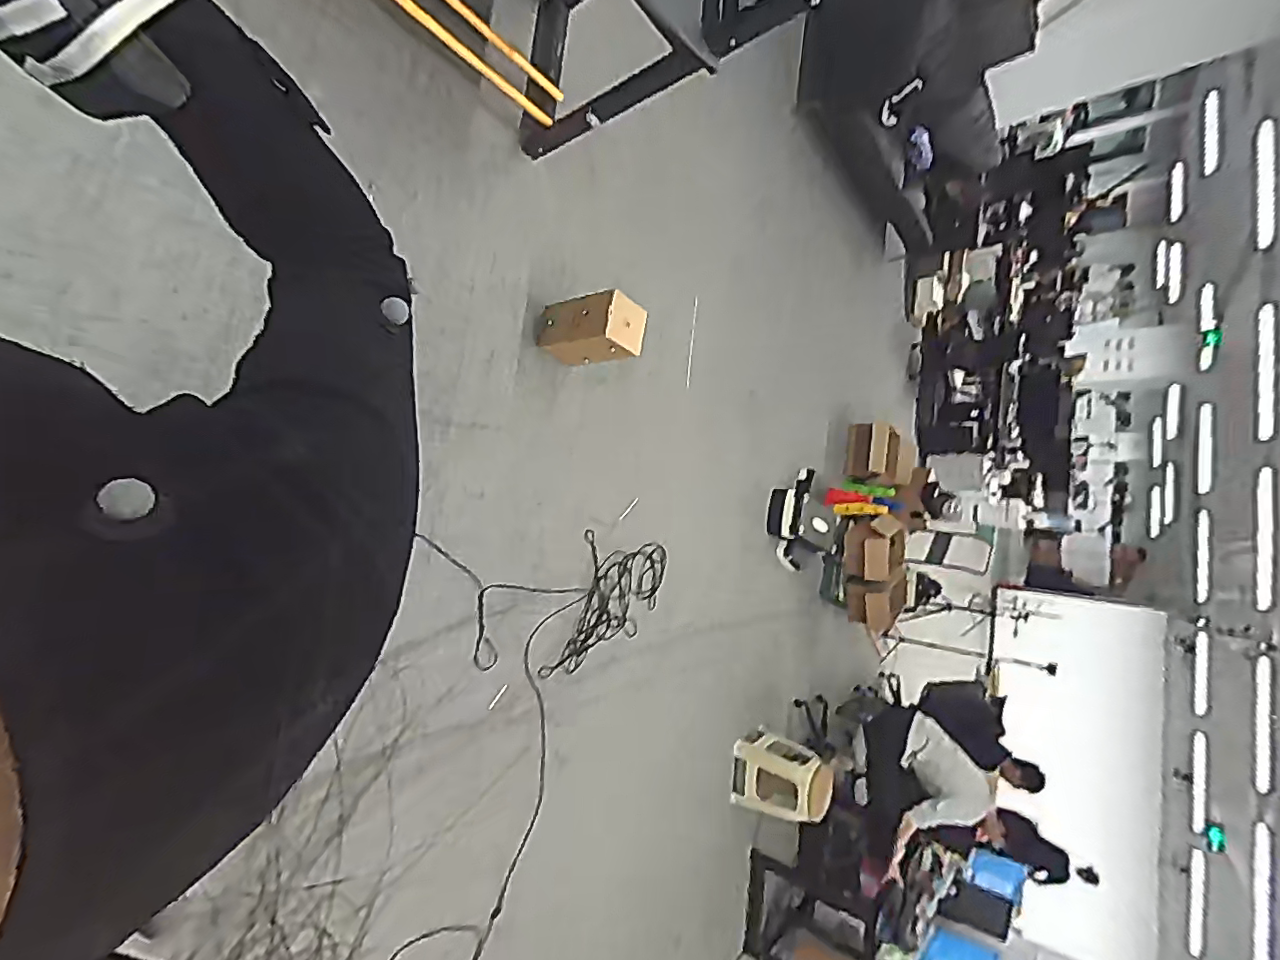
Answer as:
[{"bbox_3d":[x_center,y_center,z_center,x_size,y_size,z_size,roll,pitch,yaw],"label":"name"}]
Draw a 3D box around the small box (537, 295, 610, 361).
[{"bbox_3d":[-0.238,-0.535,1.935,0.179,0.176,0.168,22,75,-48],"label":"small box"}]
